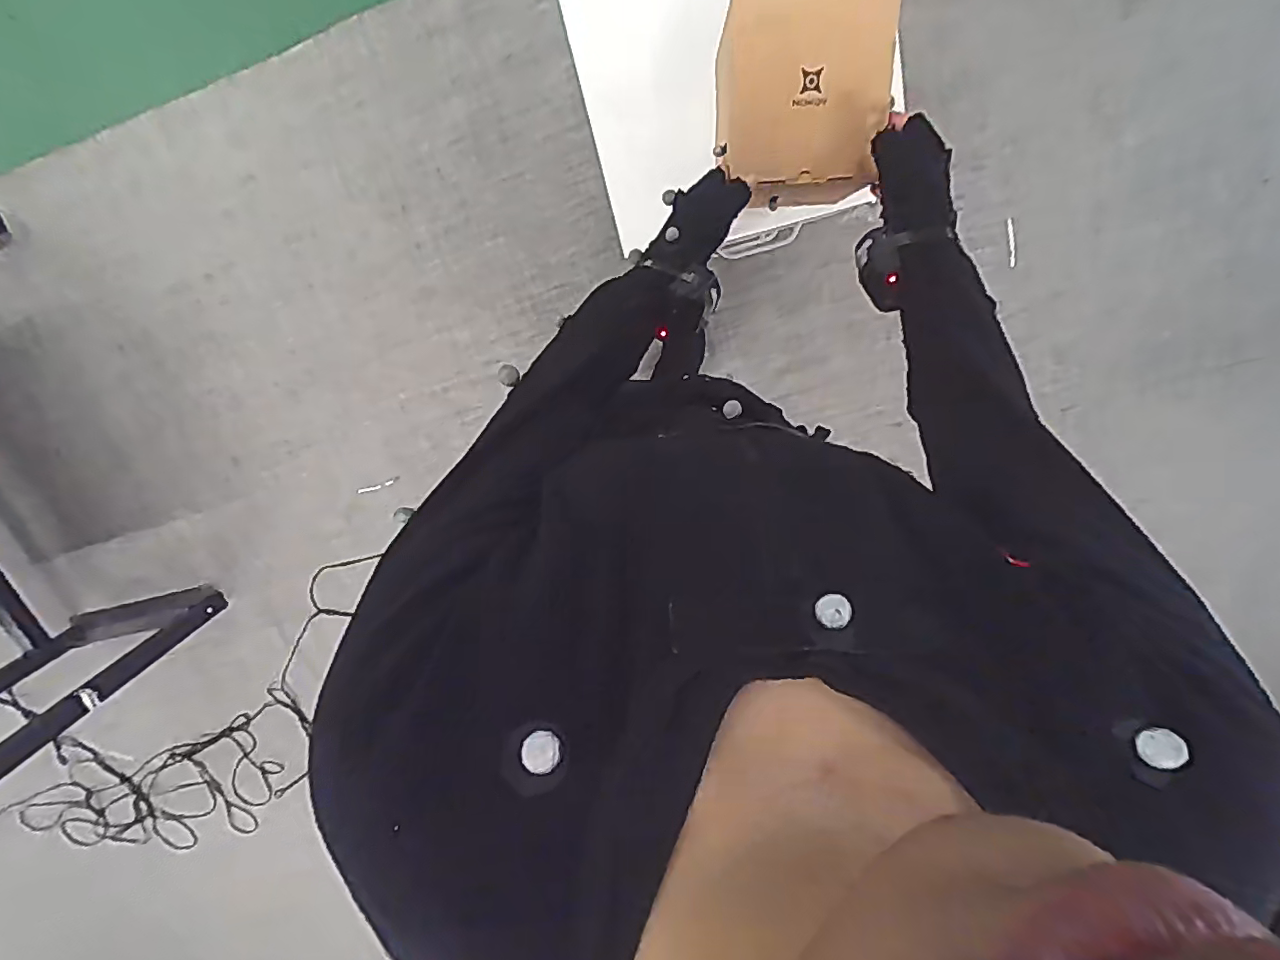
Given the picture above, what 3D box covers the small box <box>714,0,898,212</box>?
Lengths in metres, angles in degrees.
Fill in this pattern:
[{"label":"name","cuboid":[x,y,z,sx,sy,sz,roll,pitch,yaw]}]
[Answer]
[{"label":"small box","cuboid":[0.175,-0.424,0.629,0.168,0.176,0.179,-1,109,3]}]
